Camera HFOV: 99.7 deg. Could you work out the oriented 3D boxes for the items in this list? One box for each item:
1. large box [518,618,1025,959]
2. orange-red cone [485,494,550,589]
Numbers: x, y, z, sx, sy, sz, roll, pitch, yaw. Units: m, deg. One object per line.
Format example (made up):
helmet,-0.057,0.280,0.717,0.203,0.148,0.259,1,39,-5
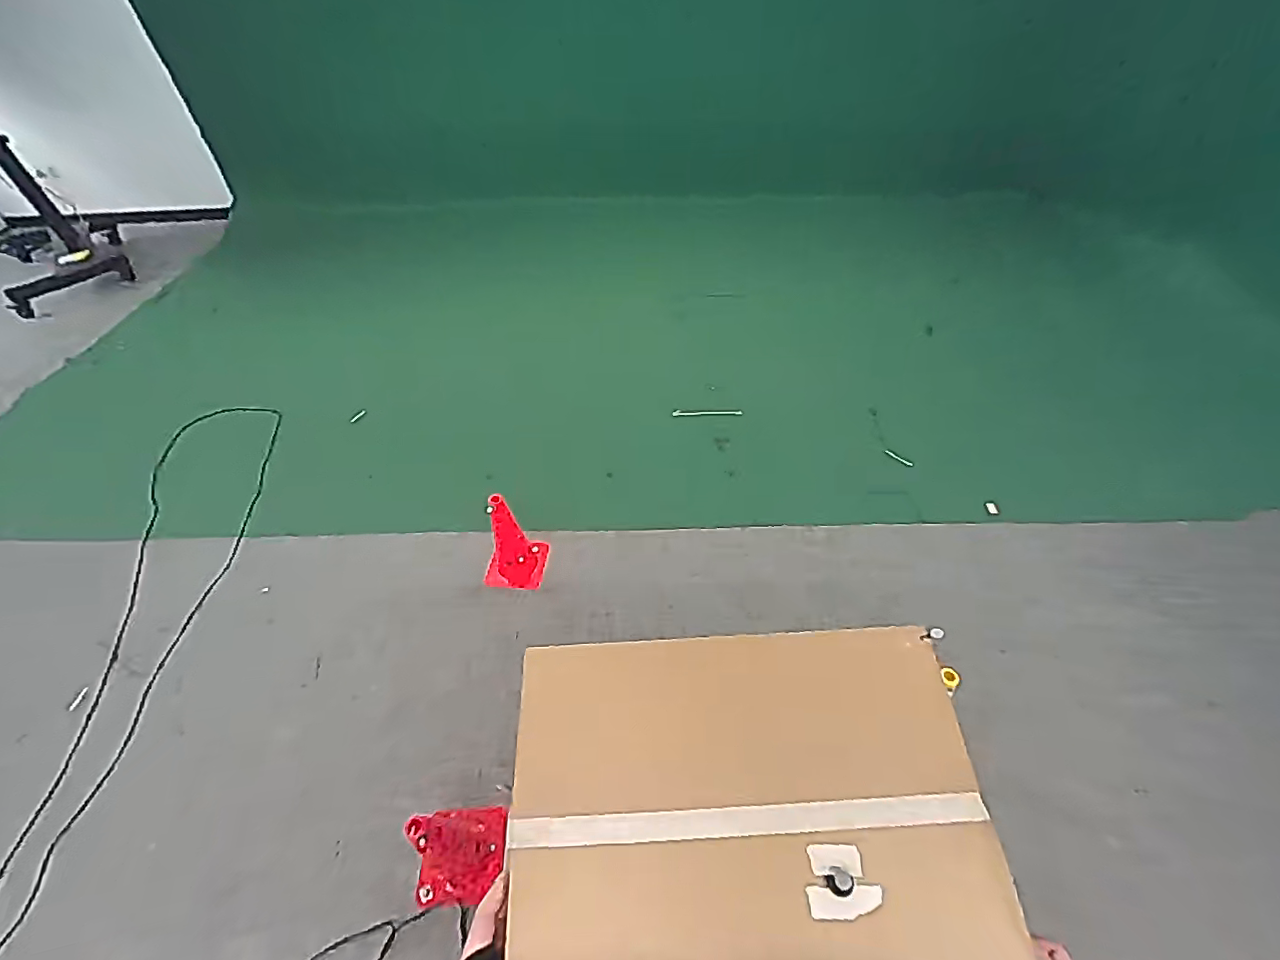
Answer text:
large box,0.097,0.366,0.606,0.408,0.320,0.320,-3,59,0
orange-red cone,-0.444,0.180,1.799,0.199,0.360,0.198,3,47,8
